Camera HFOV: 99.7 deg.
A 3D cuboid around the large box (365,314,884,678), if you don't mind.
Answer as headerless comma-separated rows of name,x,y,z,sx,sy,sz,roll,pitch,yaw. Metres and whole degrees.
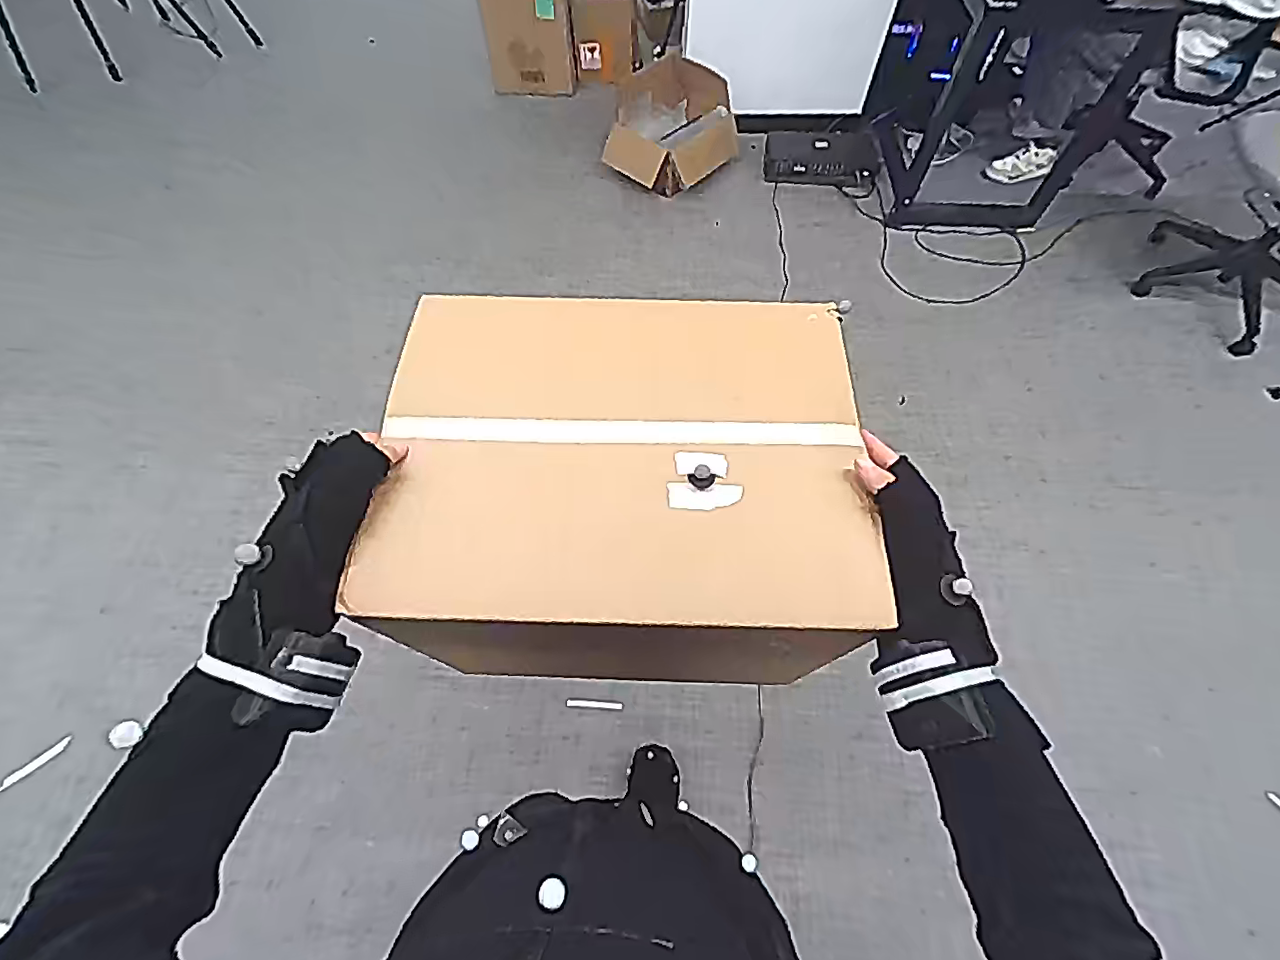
large box,-0.012,0.038,0.608,0.408,0.320,0.320,1,63,1
